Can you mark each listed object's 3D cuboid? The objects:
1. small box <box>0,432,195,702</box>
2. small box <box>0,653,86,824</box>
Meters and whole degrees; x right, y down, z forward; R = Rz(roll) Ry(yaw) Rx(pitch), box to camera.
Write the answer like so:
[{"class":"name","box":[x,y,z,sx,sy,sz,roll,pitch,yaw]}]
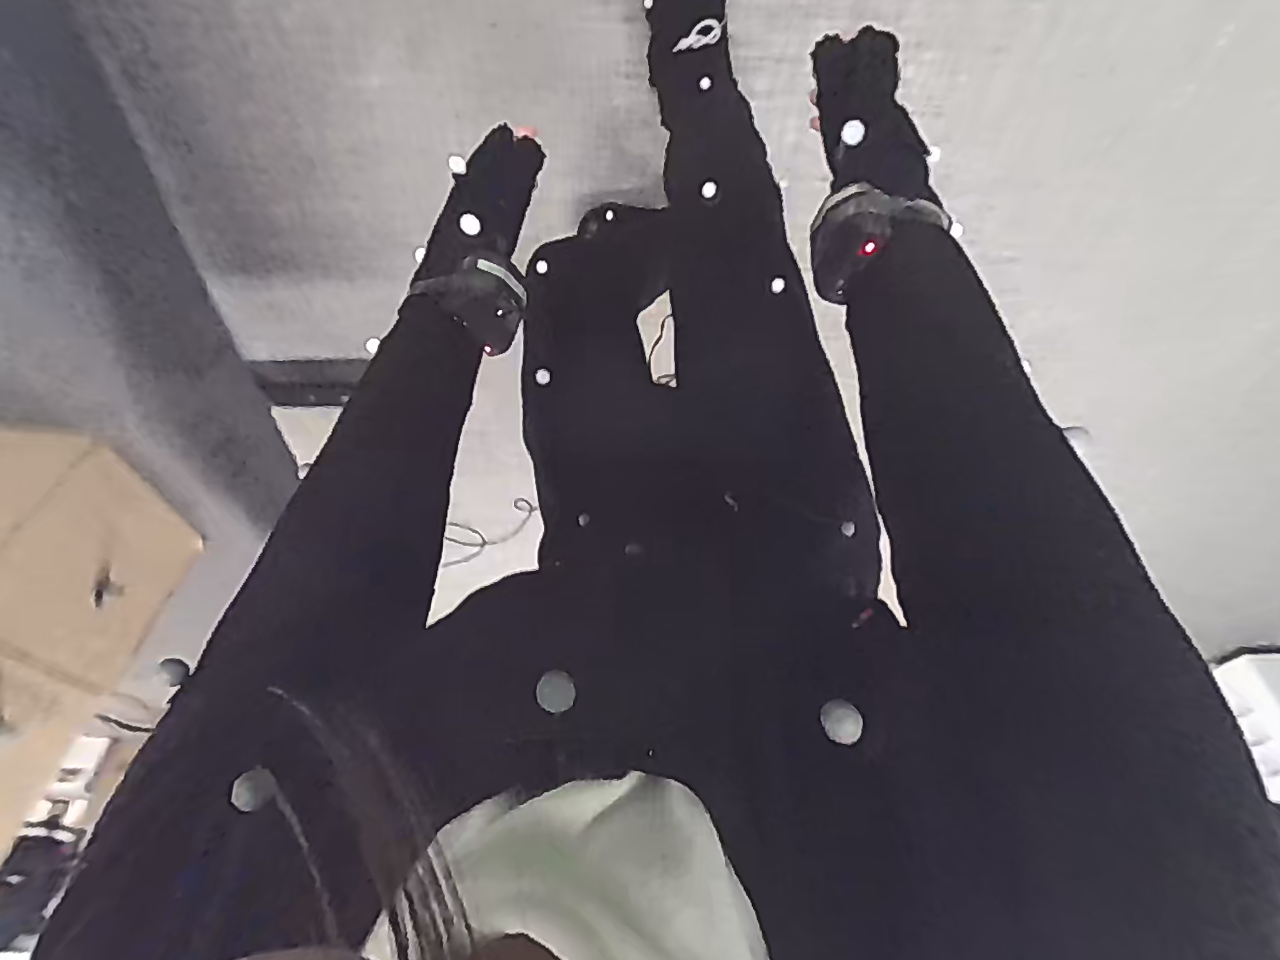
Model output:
[{"class":"small box","box":[-0.551,0.076,0.470,0.168,0.176,0.179,4,140,-2]},{"class":"small box","box":[-0.561,0.200,0.361,0.179,0.176,0.168,4,139,-3]}]
